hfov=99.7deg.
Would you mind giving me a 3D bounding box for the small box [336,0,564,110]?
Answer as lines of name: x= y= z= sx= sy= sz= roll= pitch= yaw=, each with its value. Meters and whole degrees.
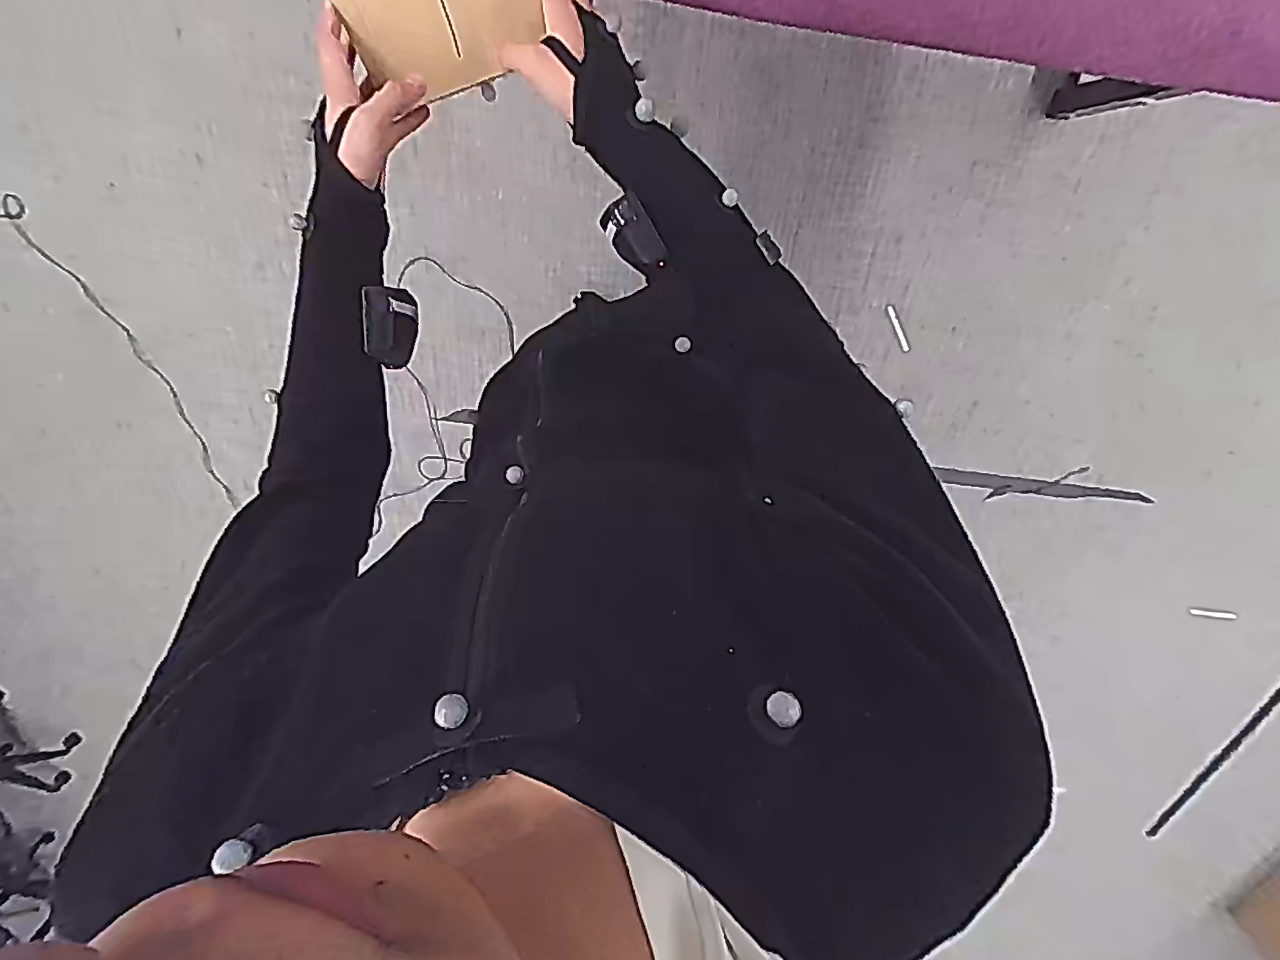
small box: x=-0.174 y=-0.459 z=0.477 sx=0.168 sy=0.176 sz=0.179 roll=-16 pitch=129 yaw=6
